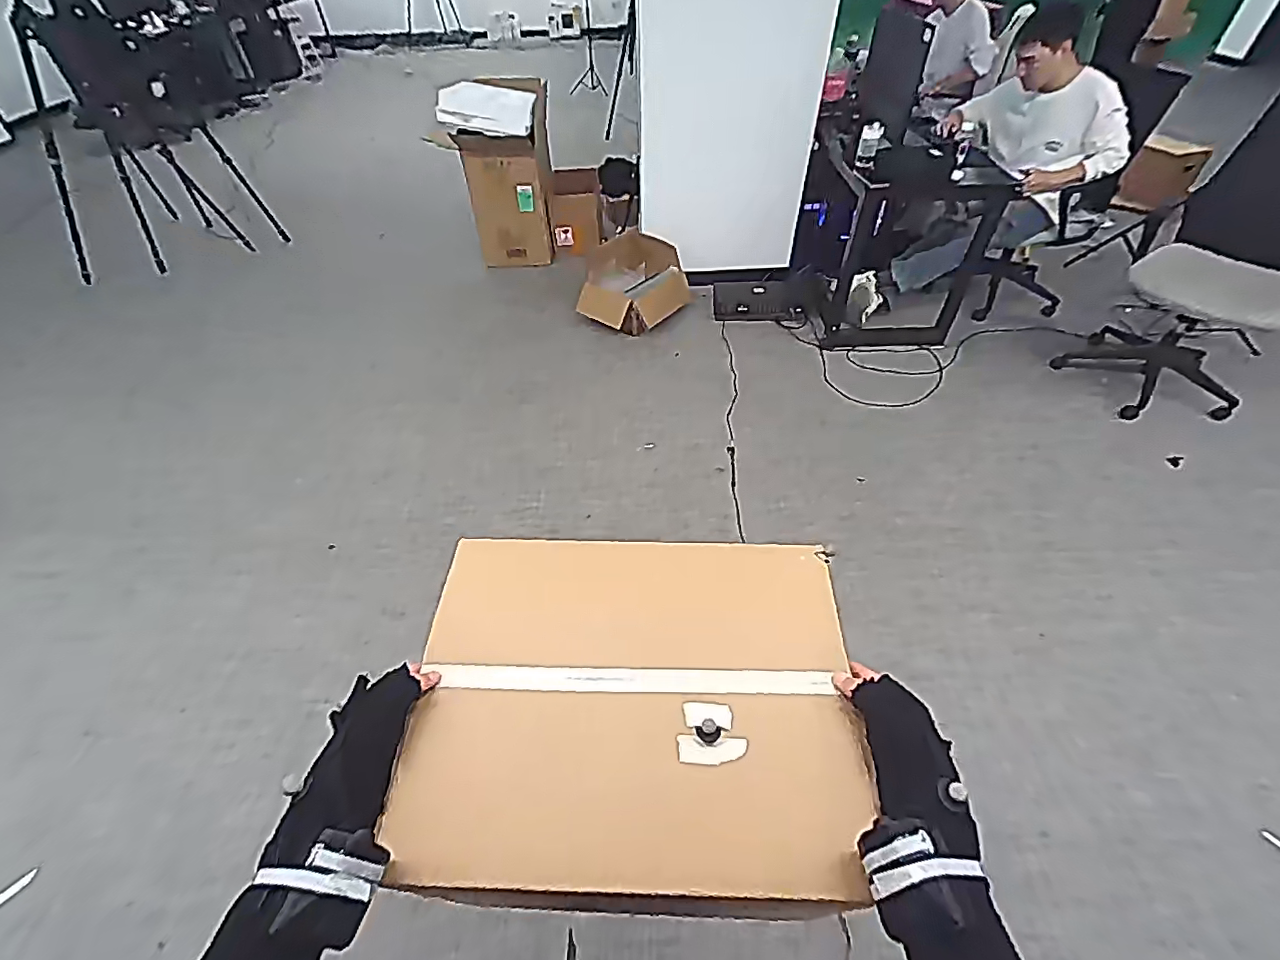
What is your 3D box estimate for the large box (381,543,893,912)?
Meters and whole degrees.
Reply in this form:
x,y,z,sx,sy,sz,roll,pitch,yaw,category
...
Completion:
x,y,z,sx,sy,sz,roll,pitch,yaw,category
-0.002,0.288,0.621,0.408,0.320,0.320,2,49,1,large box
